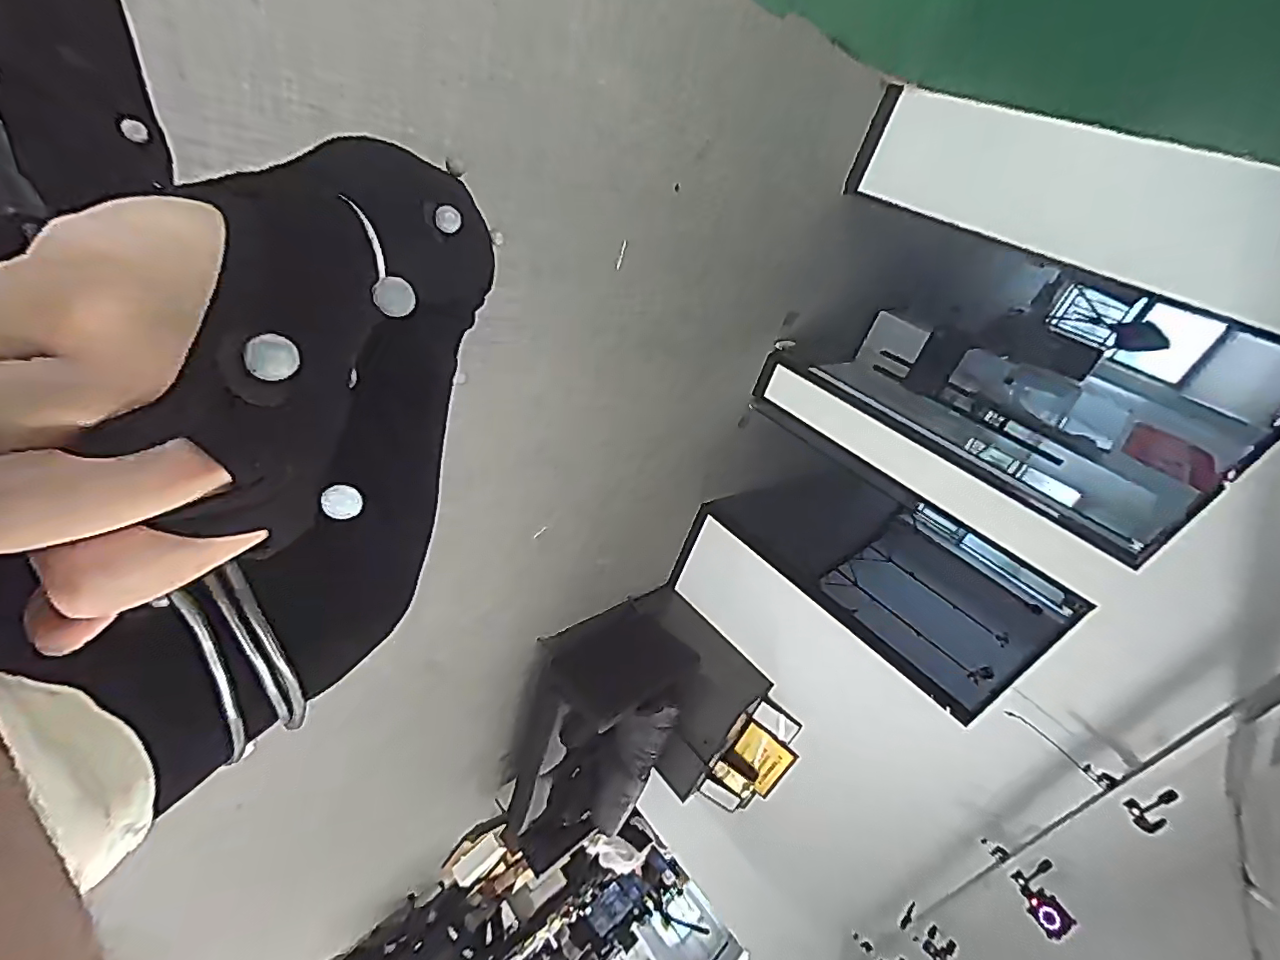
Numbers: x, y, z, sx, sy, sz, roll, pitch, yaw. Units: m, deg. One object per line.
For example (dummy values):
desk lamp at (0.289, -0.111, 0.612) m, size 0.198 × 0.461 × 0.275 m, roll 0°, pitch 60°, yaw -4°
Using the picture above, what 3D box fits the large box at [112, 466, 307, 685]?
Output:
large box at (-1.080, 0.218, 1.357) m, size 0.320 × 0.320 × 0.408 m, roll -7°, pitch 130°, yaw -49°
